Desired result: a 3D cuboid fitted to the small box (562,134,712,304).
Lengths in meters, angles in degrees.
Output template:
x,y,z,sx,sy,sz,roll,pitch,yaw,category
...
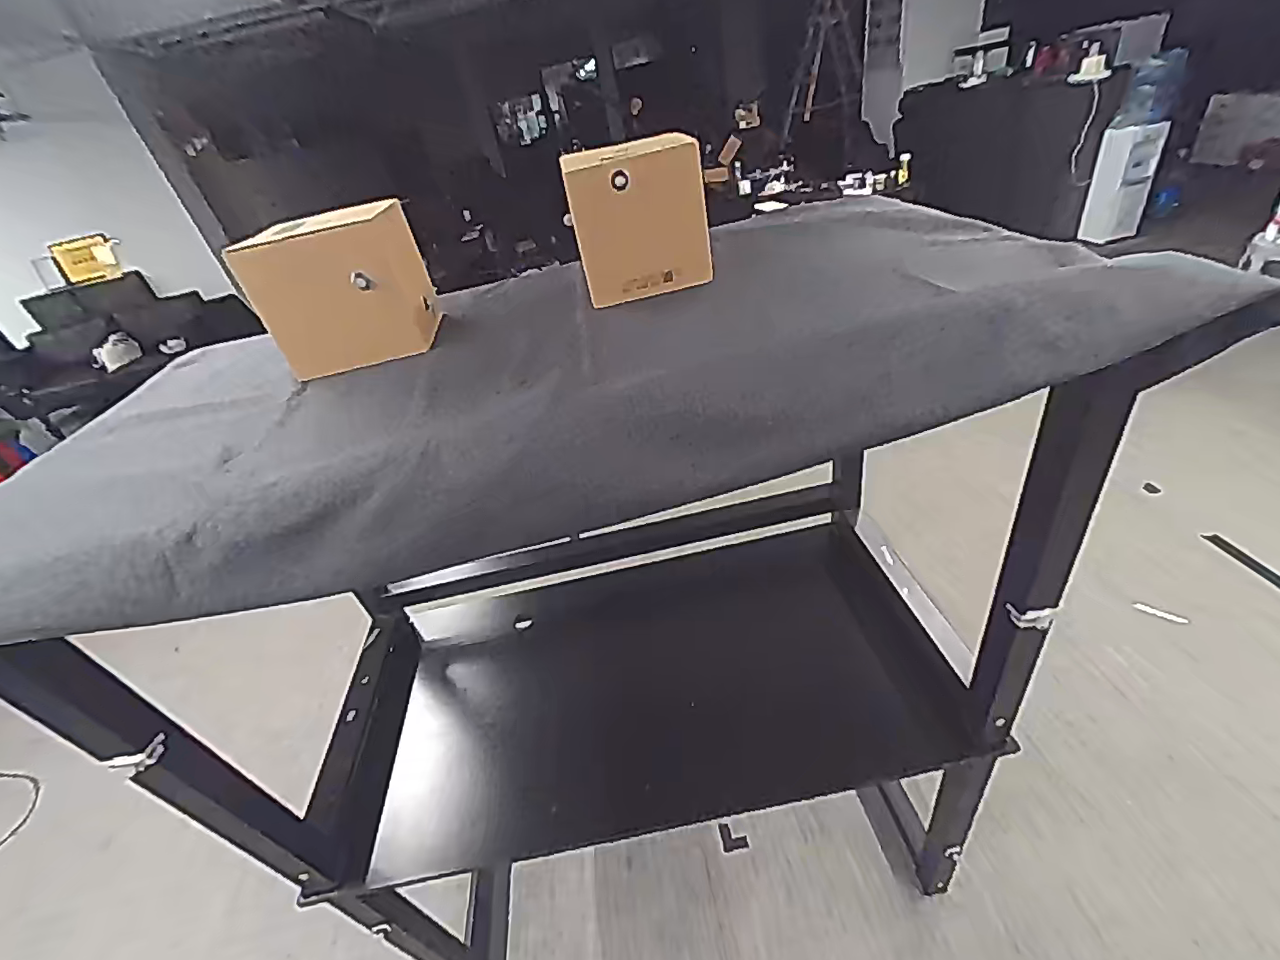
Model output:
x,y,z,sx,sy,sz,roll,pitch,yaw,category
-0.006,-0.355,0.735,0.168,0.176,0.179,-14,35,0,small box
